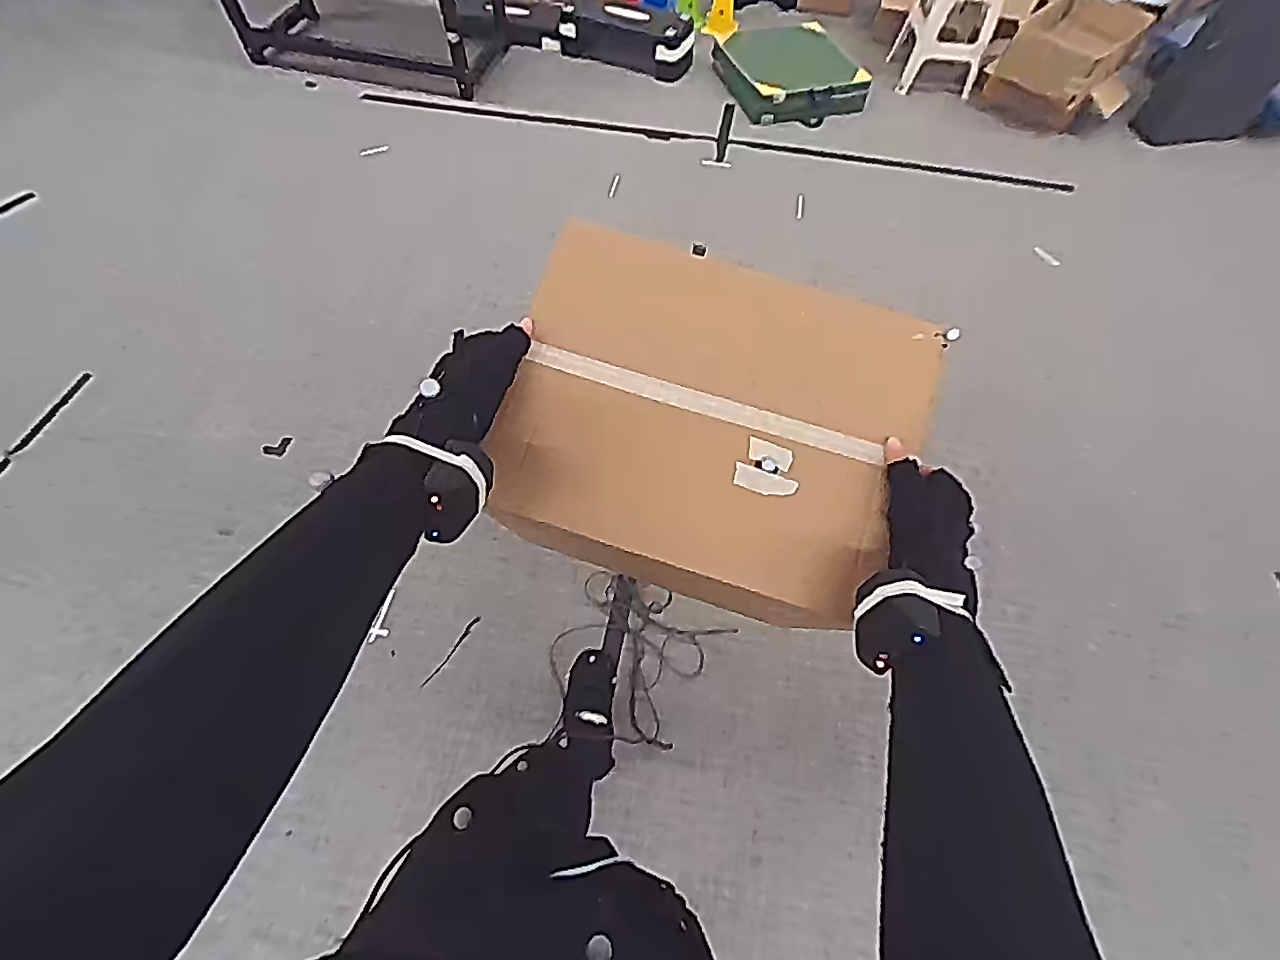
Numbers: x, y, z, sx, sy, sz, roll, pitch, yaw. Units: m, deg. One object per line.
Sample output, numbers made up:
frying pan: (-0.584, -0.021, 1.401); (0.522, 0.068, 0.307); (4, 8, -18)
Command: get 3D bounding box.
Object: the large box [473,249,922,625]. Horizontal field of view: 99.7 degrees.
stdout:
large box: (0.063, -0.023, 0.692); (0.408, 0.320, 0.320); (18, 77, 2)
